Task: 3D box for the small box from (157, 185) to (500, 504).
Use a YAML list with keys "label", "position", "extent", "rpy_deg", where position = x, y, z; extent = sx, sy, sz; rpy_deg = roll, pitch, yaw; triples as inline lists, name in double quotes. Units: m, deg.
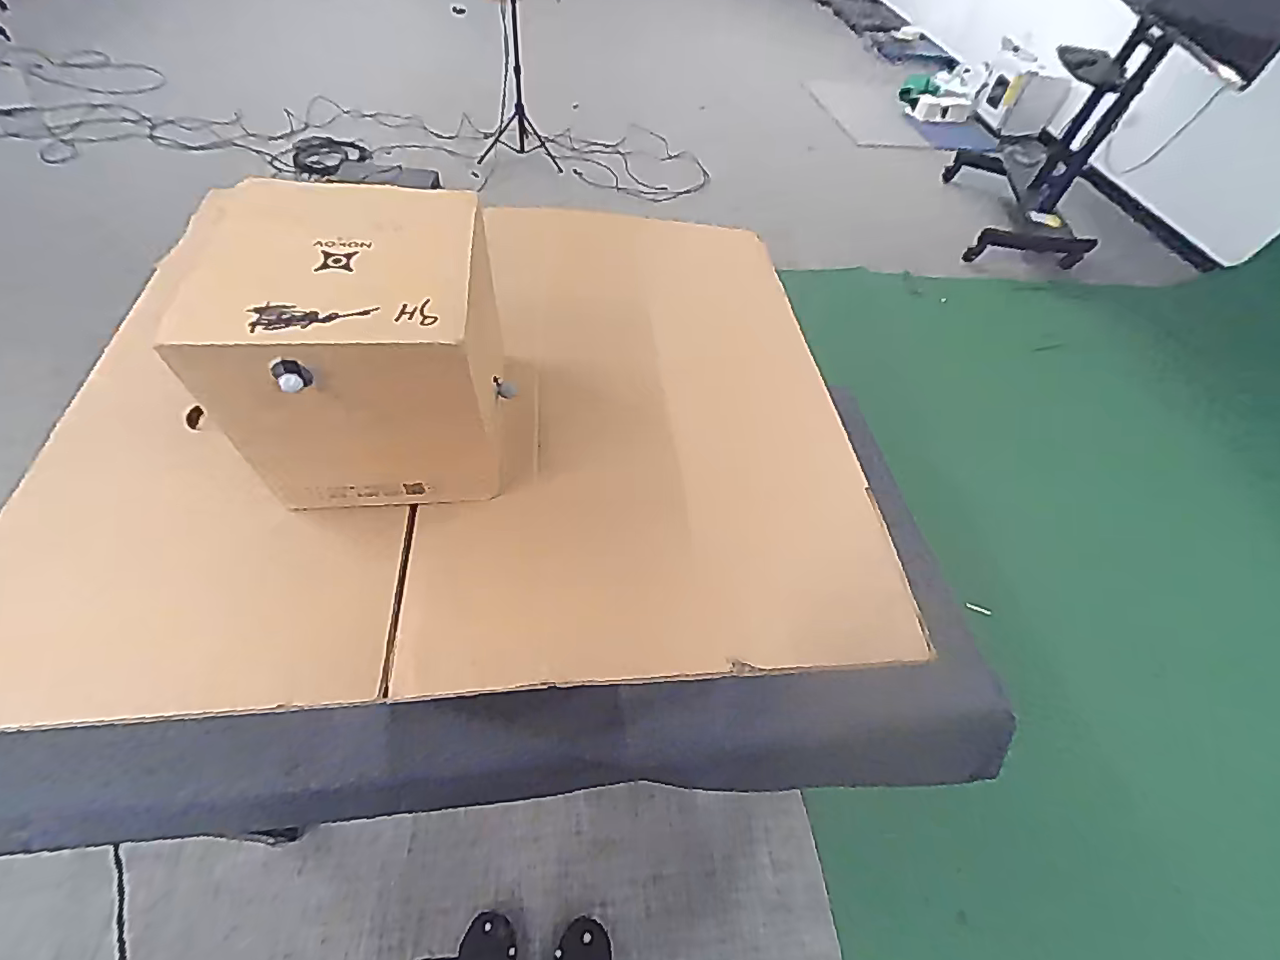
- label: "small box"
  position: [-0.204, -0.101, 0.421]
  extent: [0.168, 0.176, 0.179]
  rpy_deg: [-3, 55, -8]
